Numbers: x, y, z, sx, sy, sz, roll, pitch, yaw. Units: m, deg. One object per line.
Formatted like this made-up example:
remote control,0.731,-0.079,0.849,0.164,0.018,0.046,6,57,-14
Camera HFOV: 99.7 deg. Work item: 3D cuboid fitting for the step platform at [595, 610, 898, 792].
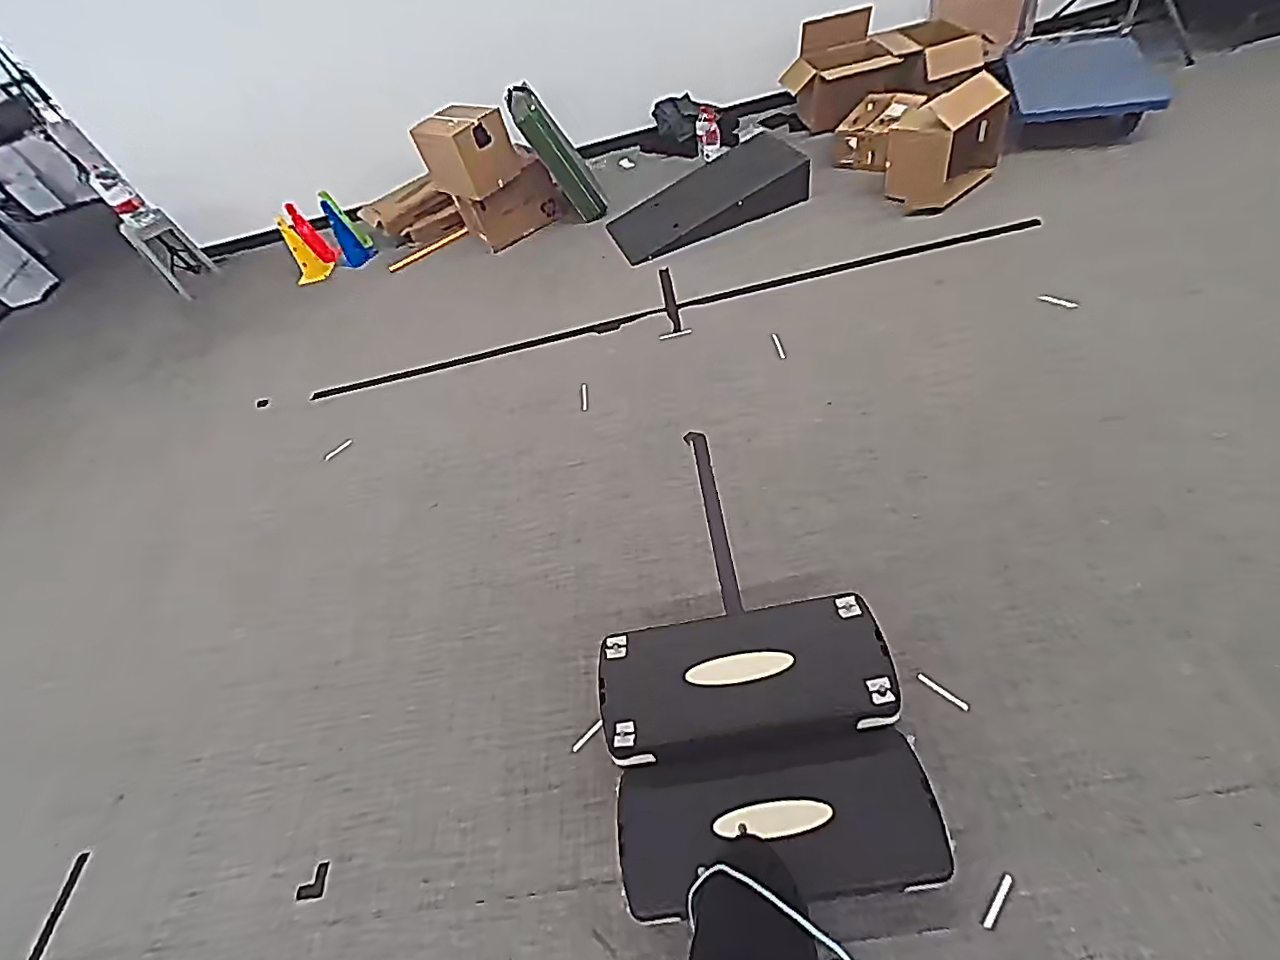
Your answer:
step platform,0.234,0.524,1.291,0.684,0.204,0.286,-12,51,4
